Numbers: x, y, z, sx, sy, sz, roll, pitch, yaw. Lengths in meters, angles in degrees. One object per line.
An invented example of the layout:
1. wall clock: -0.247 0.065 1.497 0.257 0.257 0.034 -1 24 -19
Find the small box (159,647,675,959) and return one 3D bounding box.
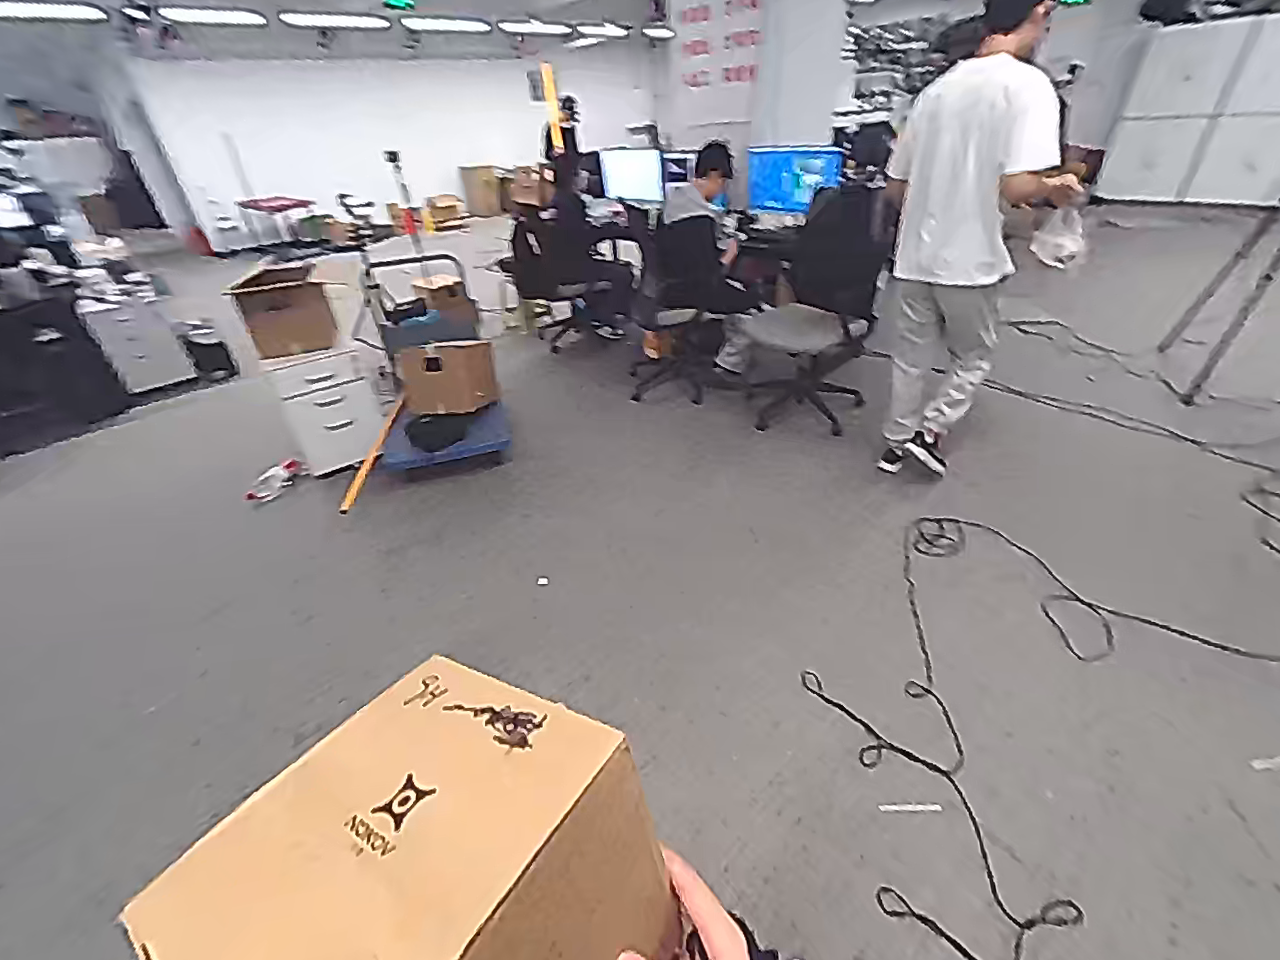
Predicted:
1. small box: -0.098 0.230 0.297 0.168 0.176 0.179 5 29 36
